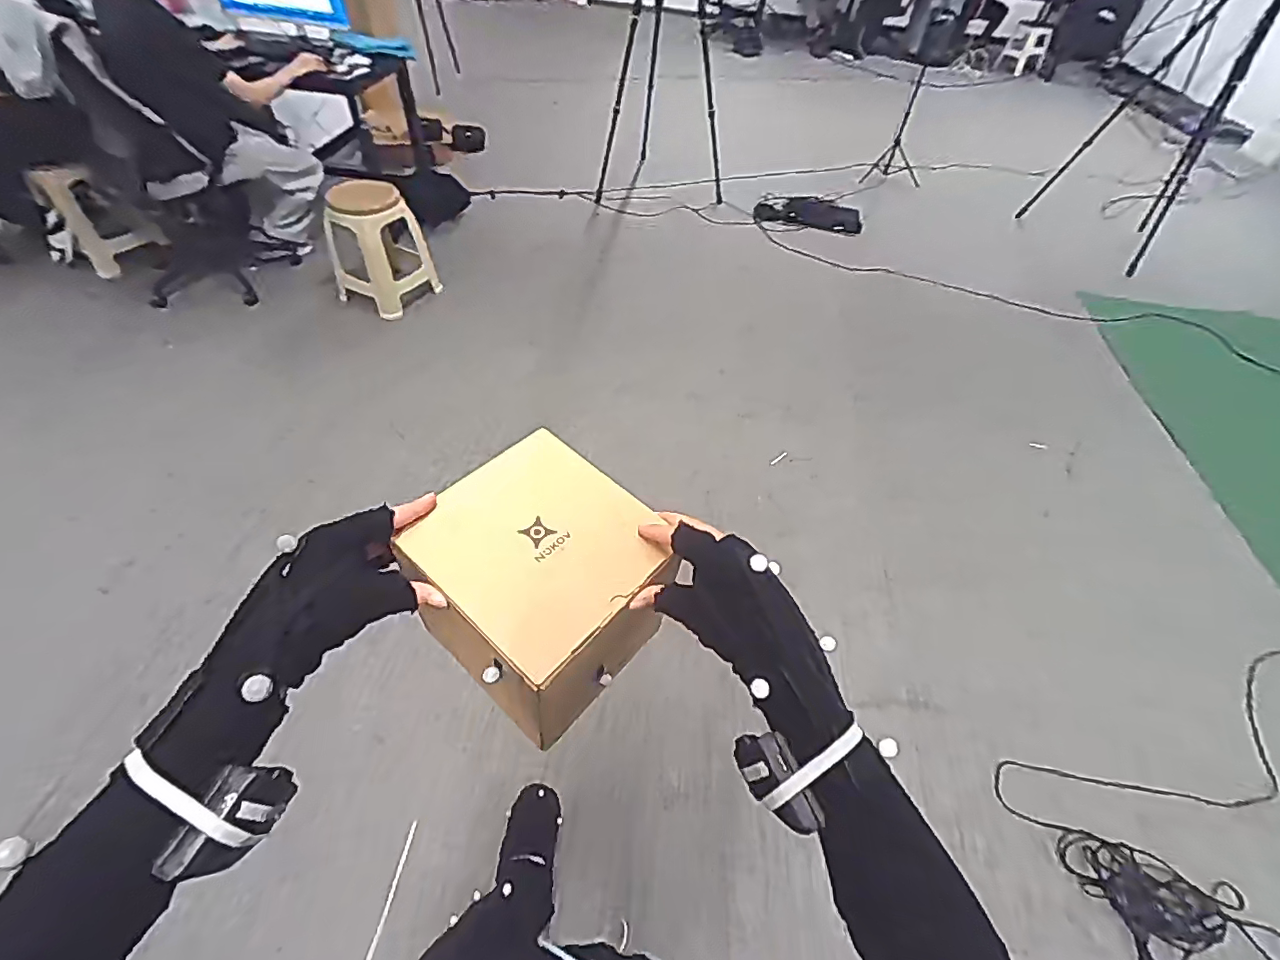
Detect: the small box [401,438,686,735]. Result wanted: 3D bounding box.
[{"bbox_3d":[-0.089,0.100,0.502,0.179,0.176,0.168,39,54,19],"label":"small box"}]
